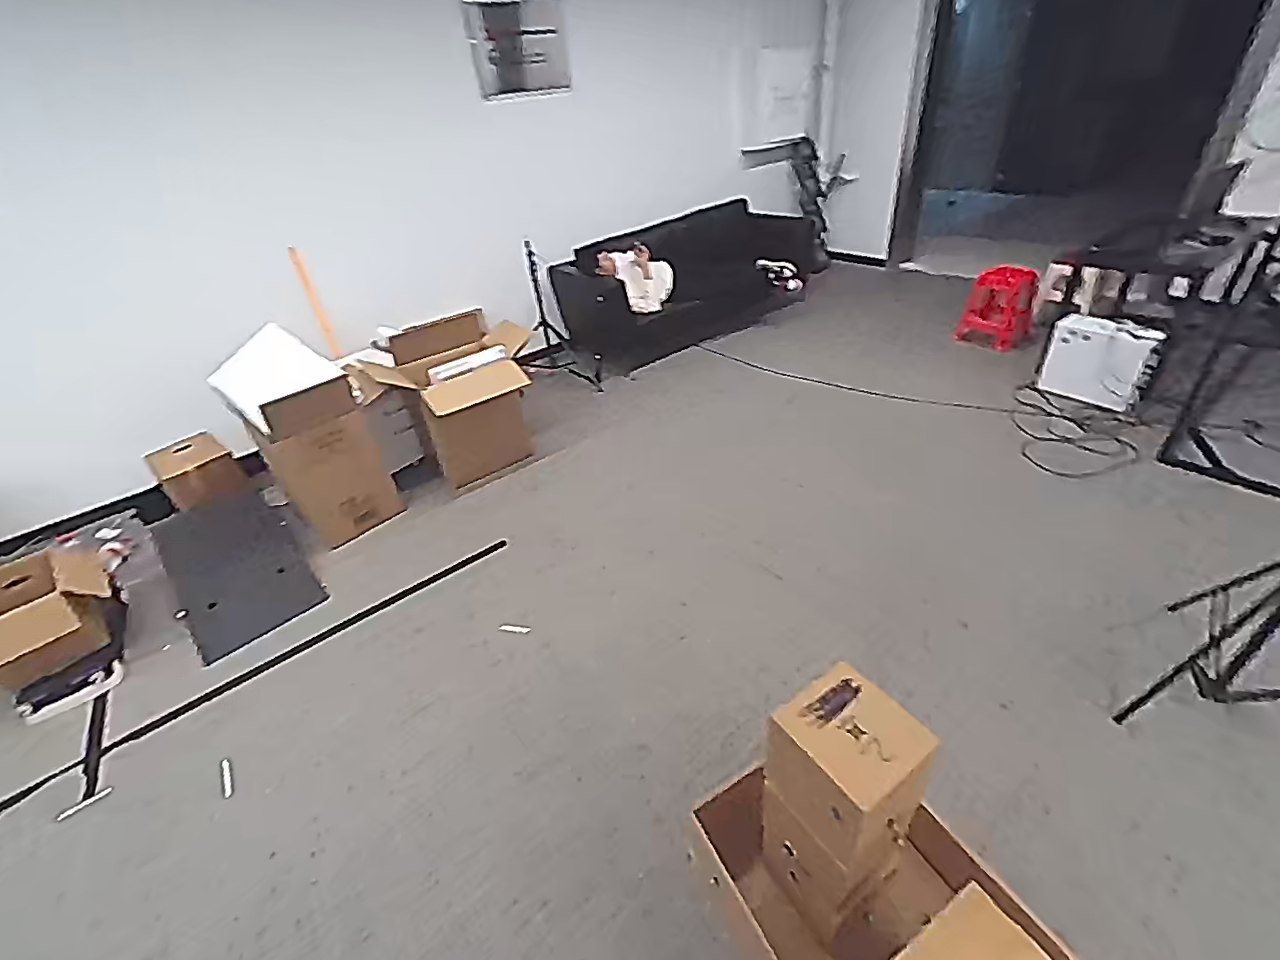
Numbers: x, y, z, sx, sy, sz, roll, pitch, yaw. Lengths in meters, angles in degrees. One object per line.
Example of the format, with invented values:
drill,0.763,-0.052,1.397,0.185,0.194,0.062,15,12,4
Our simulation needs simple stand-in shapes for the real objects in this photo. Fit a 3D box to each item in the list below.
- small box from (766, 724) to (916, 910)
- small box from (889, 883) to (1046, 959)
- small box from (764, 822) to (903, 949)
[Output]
small box,0.327,0.565,0.915,0.179,0.176,0.168,-24,37,-25
small box,0.438,0.696,0.711,0.179,0.176,0.168,-22,37,-23
small box,0.346,0.705,1.000,0.168,0.176,0.179,-23,39,-23
